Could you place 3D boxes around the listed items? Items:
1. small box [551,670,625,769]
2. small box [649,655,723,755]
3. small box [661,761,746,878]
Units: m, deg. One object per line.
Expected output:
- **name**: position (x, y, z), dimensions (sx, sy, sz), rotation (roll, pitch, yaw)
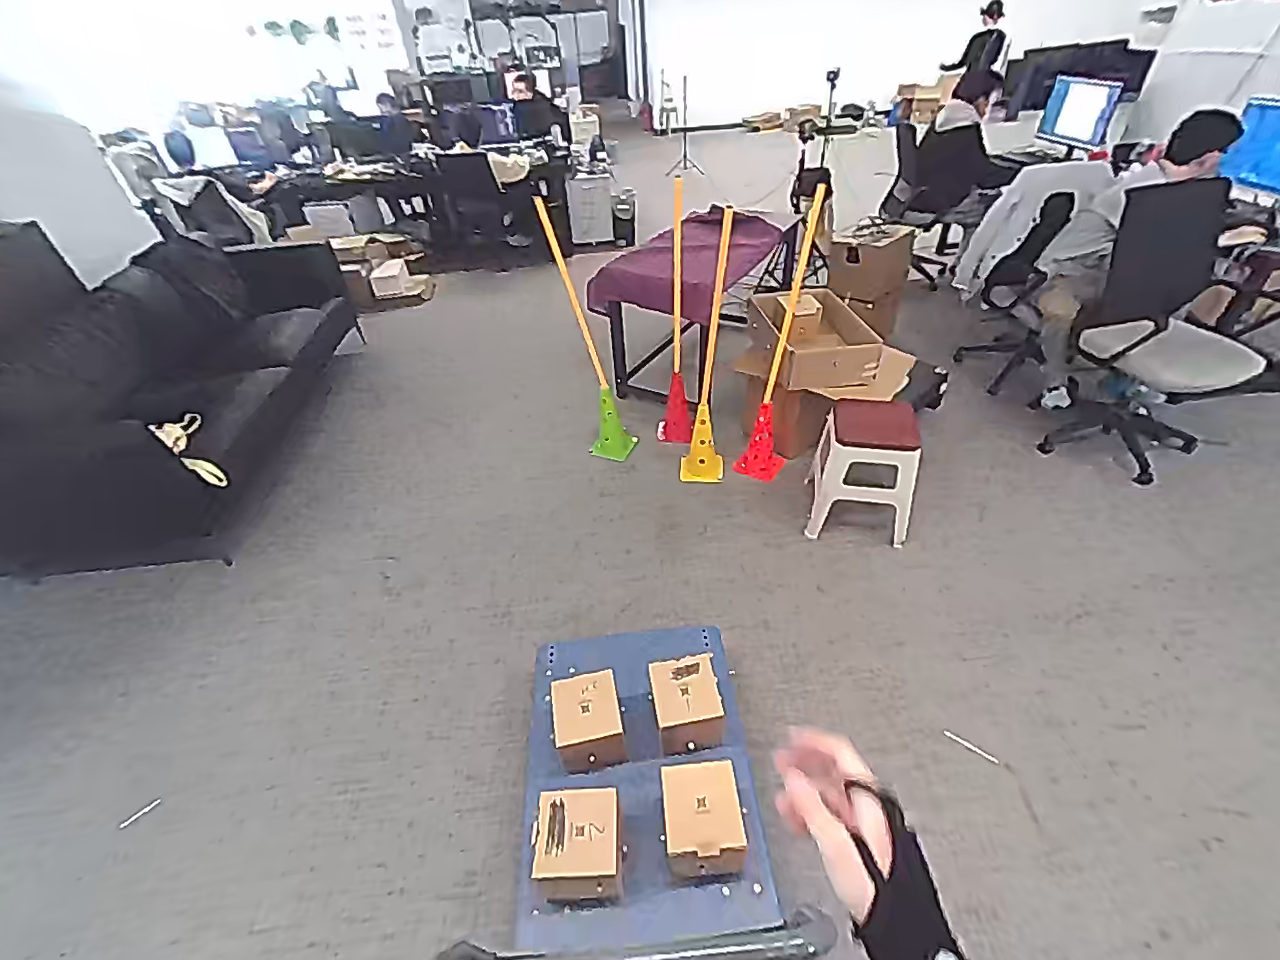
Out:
- **small box**: position (-0.135, 0.631, 1.414), dimensions (0.168, 0.176, 0.179), rotation (-9, 41, -6)
- **small box**: position (0.117, 0.595, 1.431), dimensions (0.168, 0.176, 0.179), rotation (-9, 41, -4)
- **small box**: position (0.137, 0.770, 1.228), dimensions (0.168, 0.176, 0.179), rotation (-5, 41, -1)
